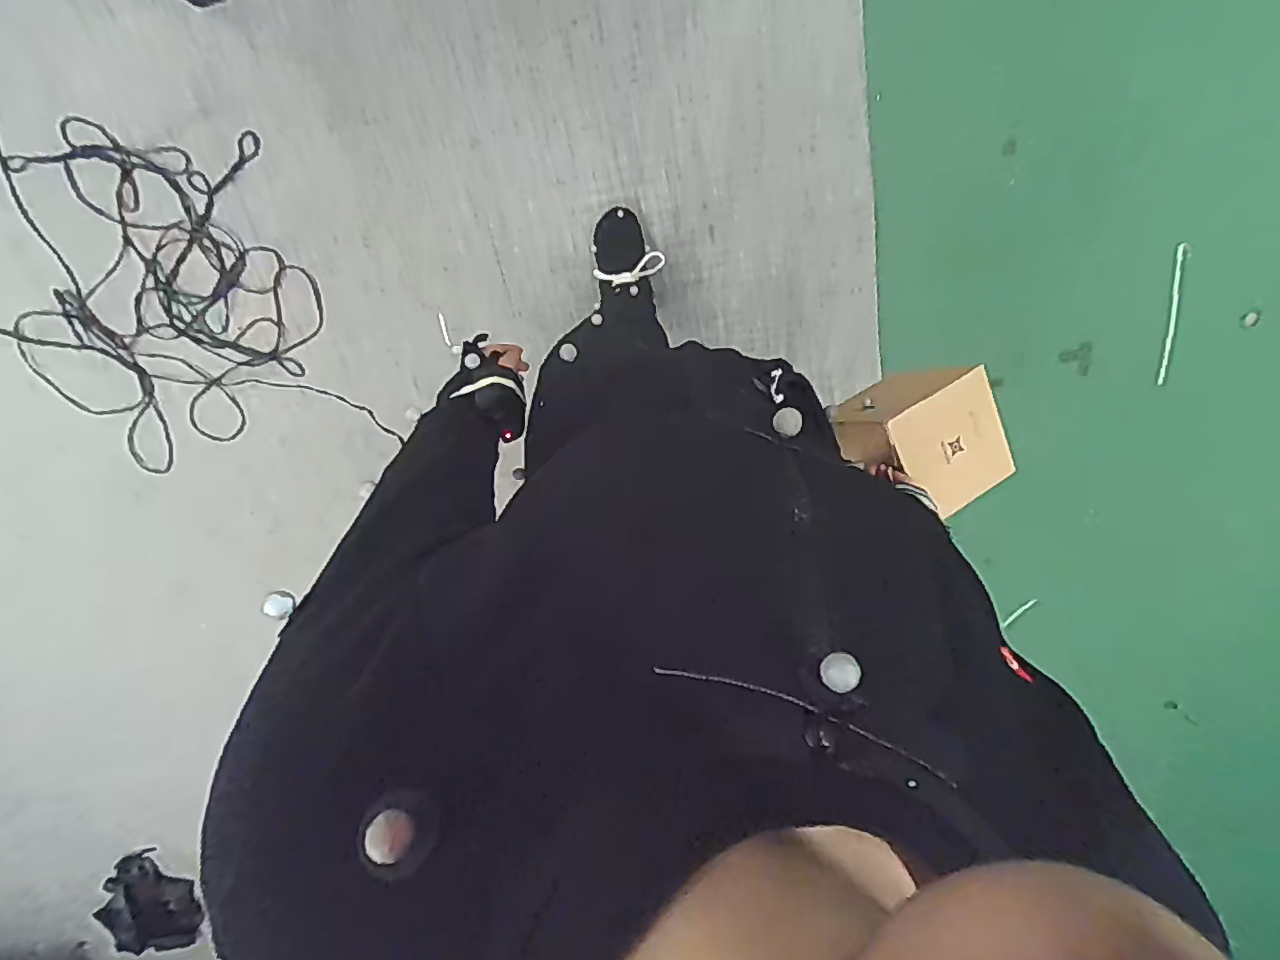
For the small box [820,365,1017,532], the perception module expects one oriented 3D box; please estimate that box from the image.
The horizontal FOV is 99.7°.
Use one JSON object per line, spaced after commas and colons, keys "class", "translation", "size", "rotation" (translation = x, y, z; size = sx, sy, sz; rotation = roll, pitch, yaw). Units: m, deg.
{"class": "small box", "translation": [0.390, -0.047, 0.788], "size": [0.179, 0.176, 0.168], "rotation": [-31, 104, -14]}
